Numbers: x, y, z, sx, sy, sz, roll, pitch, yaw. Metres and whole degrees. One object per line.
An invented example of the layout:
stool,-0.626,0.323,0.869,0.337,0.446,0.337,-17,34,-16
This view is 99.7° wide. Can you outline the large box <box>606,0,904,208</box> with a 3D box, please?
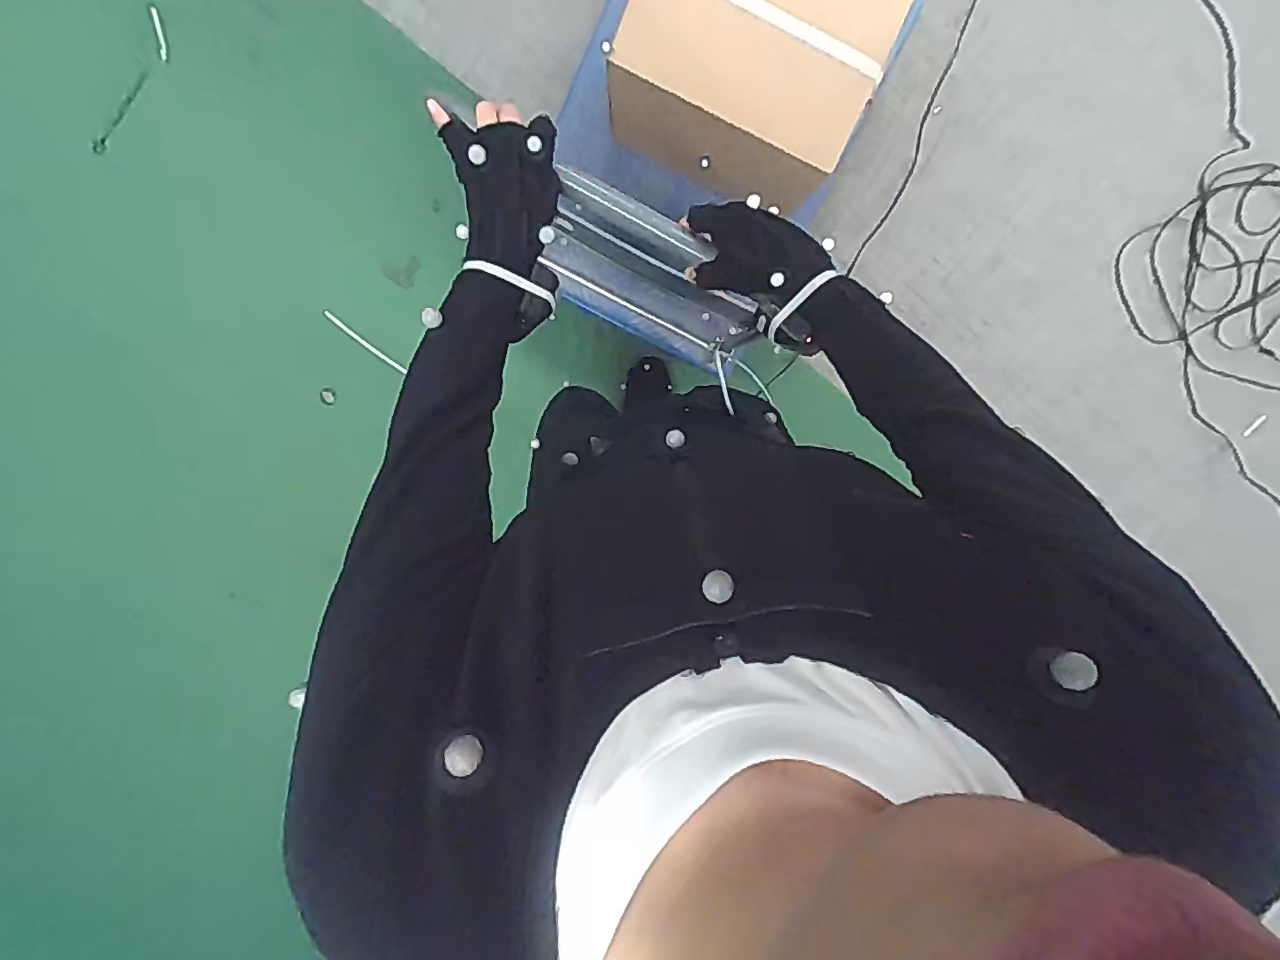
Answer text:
large box,0.185,-0.760,0.981,0.408,0.320,0.320,23,101,-6
